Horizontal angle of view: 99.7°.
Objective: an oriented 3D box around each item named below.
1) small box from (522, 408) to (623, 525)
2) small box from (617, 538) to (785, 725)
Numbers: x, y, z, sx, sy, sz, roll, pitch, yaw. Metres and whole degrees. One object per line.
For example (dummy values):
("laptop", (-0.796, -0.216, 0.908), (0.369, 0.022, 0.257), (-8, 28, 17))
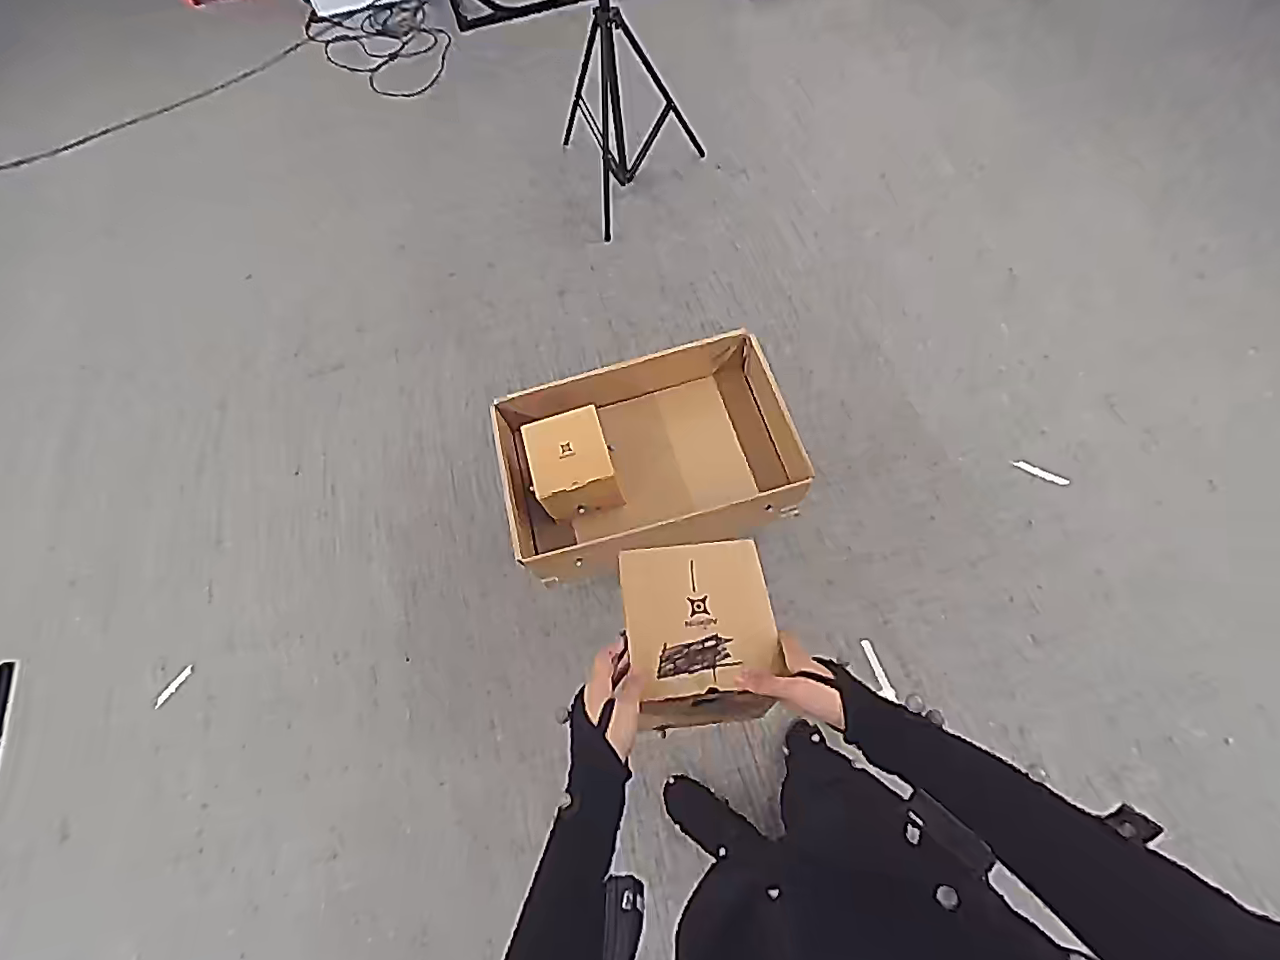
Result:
("small box", (-0.142, -0.024, 1.179), (0.168, 0.176, 0.179), (-18, 67, -2))
("small box", (0.062, 0.192, 0.662), (0.168, 0.176, 0.179), (-5, 55, -4))
